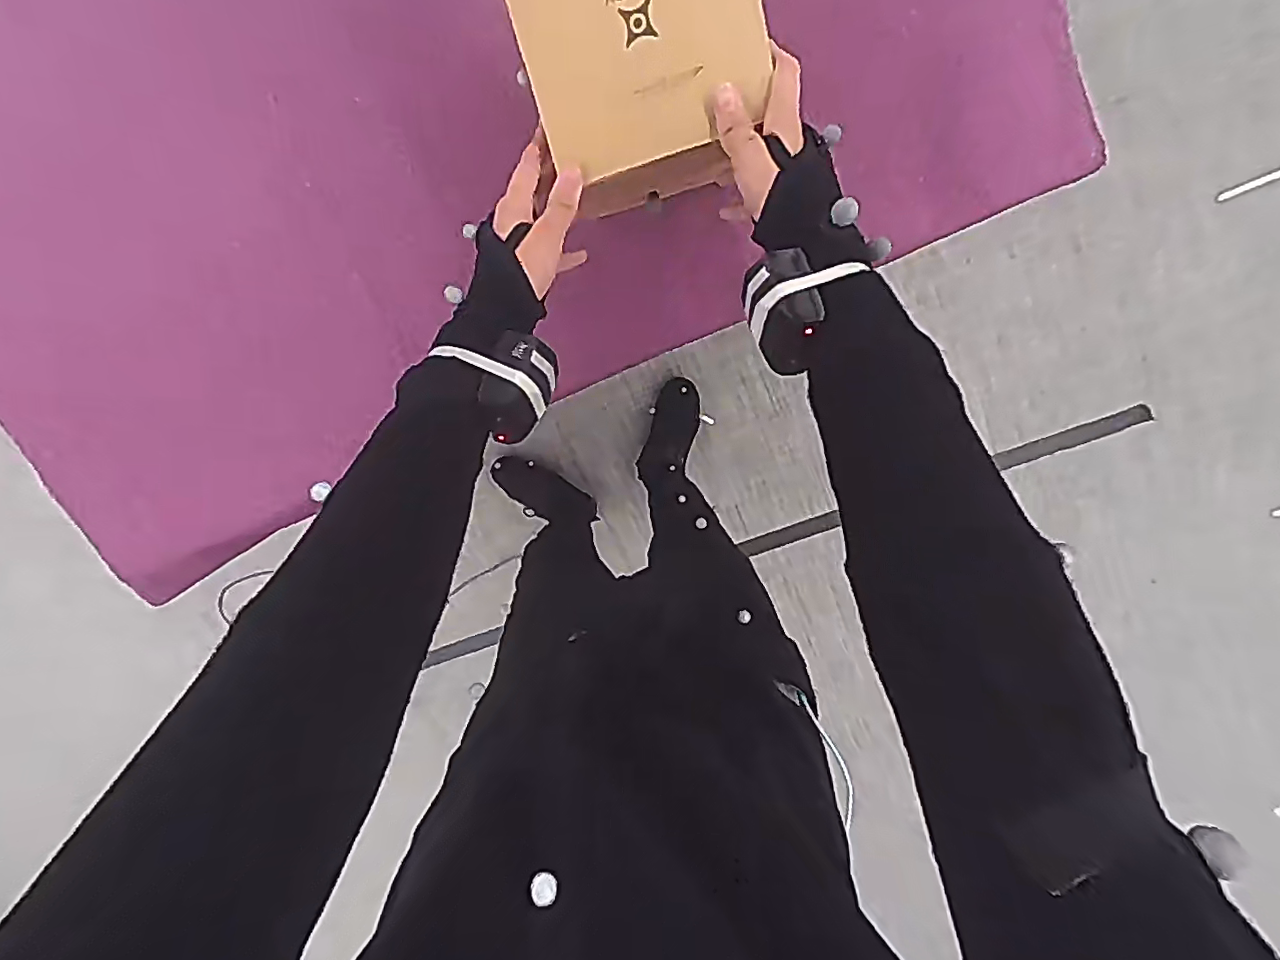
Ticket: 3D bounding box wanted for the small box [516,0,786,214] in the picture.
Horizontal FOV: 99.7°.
[{"bbox_3d":[0.006,-0.337,0.432,0.168,0.176,0.179,-13,108,8],"label":"small box"}]
